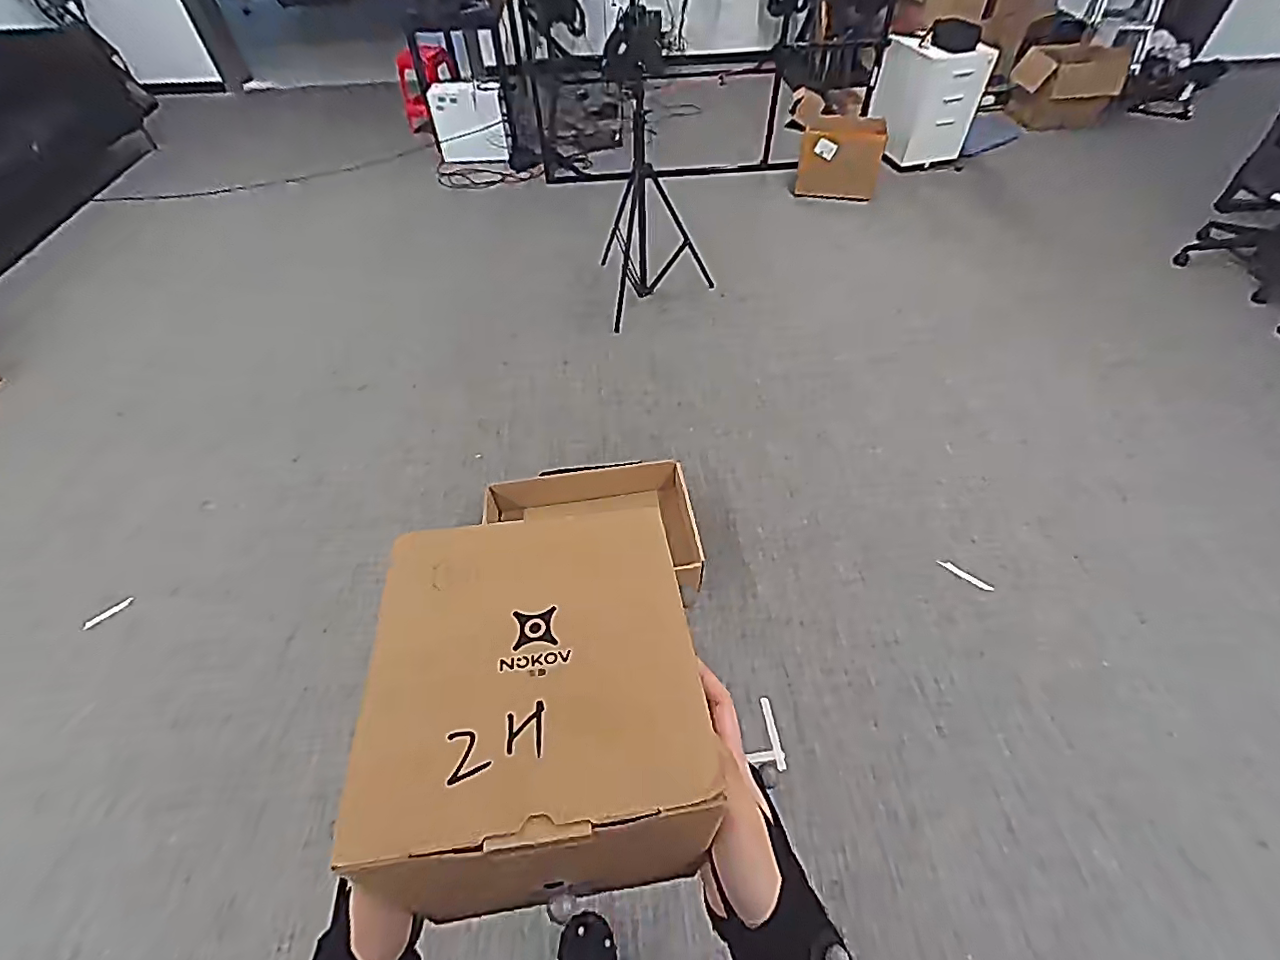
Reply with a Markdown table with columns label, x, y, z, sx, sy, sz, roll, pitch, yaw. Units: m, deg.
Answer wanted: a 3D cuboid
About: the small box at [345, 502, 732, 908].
| label | x | y | z | sx | sy | sz | roll | pitch | yaw |
| --- | --- | --- | --- | --- | --- | --- | --- | --- | --- |
| small box | -0.054 | 0.138 | 0.342 | 0.168 | 0.176 | 0.179 | -6 | 46 | -7 |
